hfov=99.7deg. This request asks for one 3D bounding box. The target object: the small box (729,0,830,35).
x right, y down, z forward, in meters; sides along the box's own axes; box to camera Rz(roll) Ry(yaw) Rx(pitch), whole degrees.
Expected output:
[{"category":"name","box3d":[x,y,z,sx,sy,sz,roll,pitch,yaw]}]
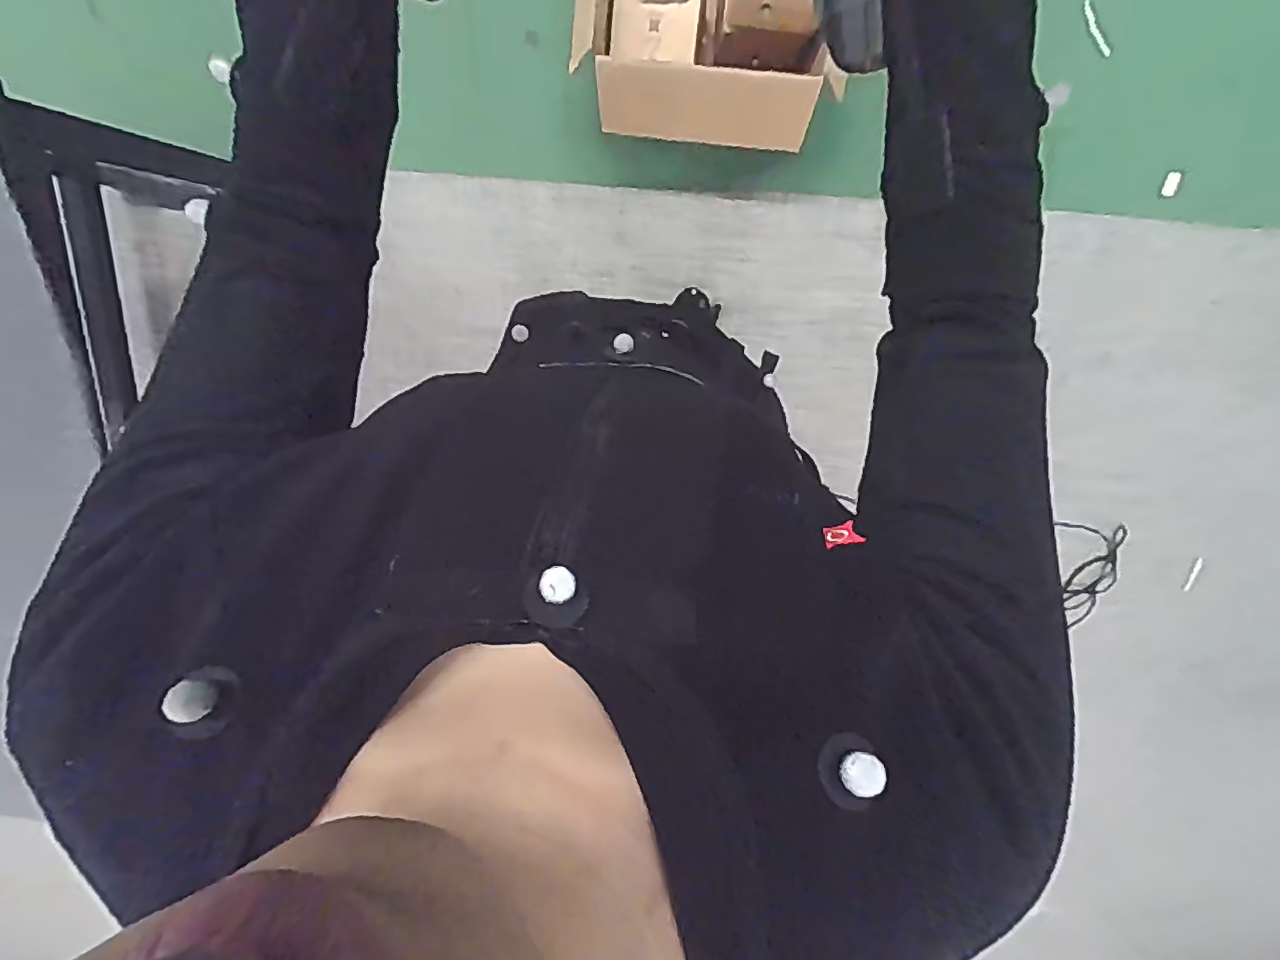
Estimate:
[{"category":"small box","box3d":[0.248,-0.881,0.893,0.168,0.176,0.179,8,109,-2]}]
